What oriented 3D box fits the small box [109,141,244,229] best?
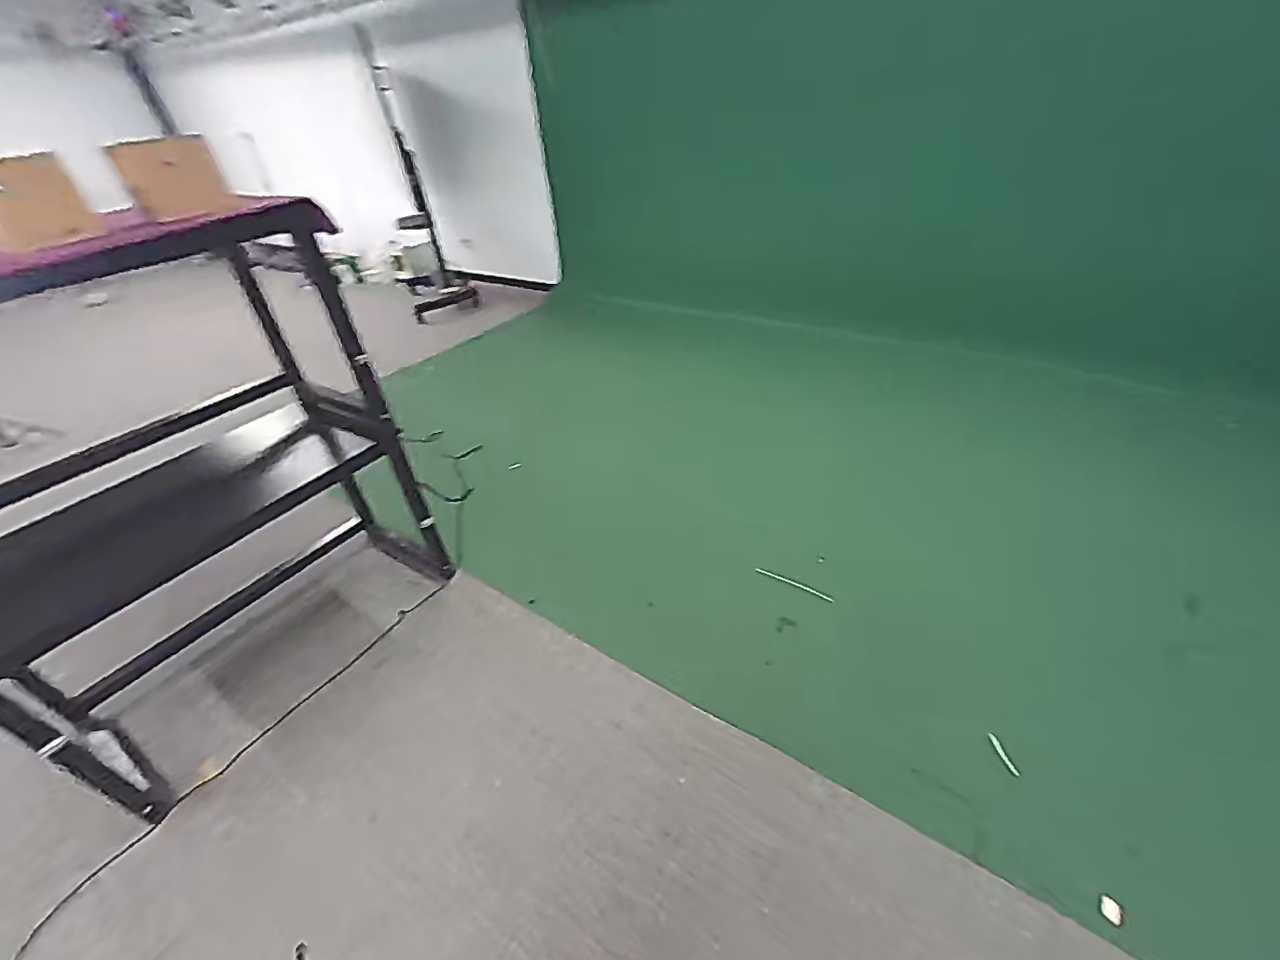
[{"bbox_3d":[-1.156,-0.738,1.358,0.168,0.176,0.179,18,42,30],"label":"small box"}]
